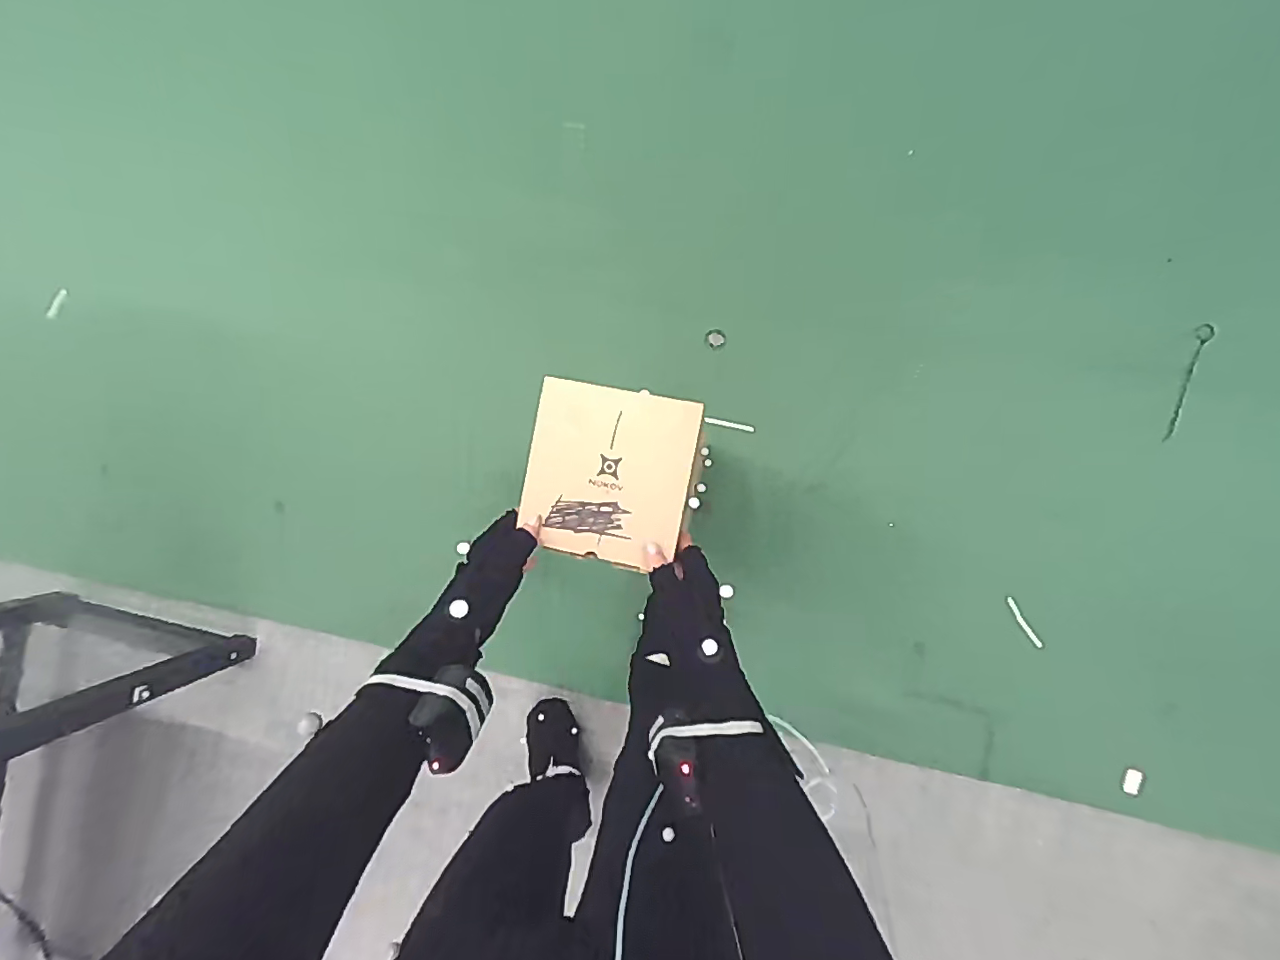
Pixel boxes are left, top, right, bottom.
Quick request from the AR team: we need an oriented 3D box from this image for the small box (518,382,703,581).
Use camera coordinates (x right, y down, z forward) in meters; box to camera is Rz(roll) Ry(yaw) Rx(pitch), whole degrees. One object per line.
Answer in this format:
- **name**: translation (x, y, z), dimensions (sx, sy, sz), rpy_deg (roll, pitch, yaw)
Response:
- **small box**: translation (-0.022, -0.001, 0.622), dimensions (0.168, 0.176, 0.179), rpy_deg (11, 92, 6)
